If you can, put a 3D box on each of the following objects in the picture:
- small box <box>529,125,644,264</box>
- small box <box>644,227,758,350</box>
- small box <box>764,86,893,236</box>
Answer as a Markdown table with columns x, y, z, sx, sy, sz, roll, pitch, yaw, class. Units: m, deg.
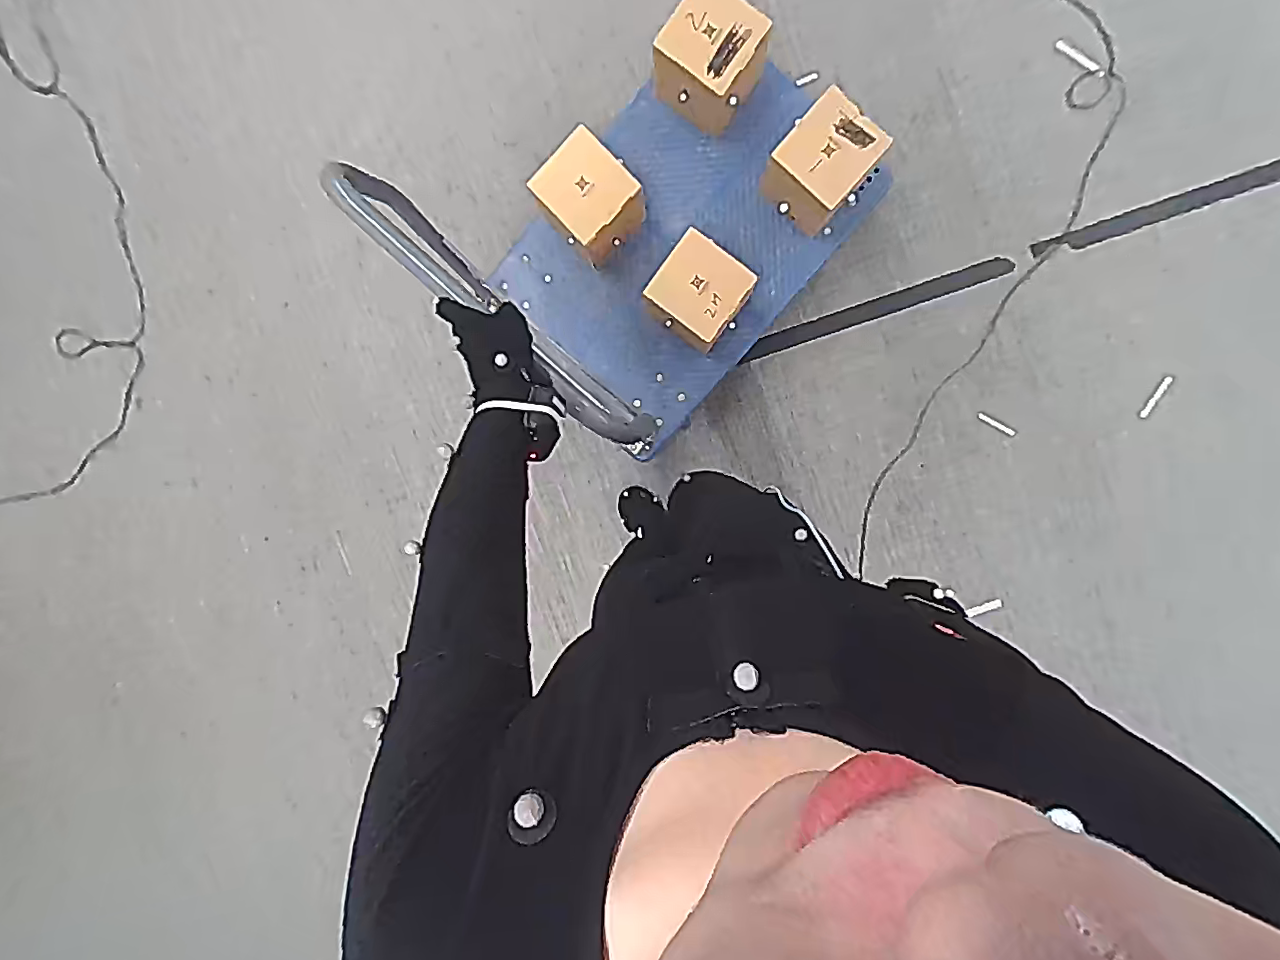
| x | y | z | sx | sy | sz | roll | pitch | yaw | class |
| --- | --- | --- | --- | --- | --- | --- | --- | --- | --- |
| -0.107 | -0.603 | 1.171 | 0.179 | 0.176 | 0.168 | 45 | 96 | -3 | small box |
| 0.127 | -0.402 | 1.174 | 0.179 | 0.176 | 0.168 | 38 | 96 | 0 | small box |
| 0.382 | -0.656 | 1.135 | 0.168 | 0.176 | 0.179 | 43 | 98 | -1 | small box |
